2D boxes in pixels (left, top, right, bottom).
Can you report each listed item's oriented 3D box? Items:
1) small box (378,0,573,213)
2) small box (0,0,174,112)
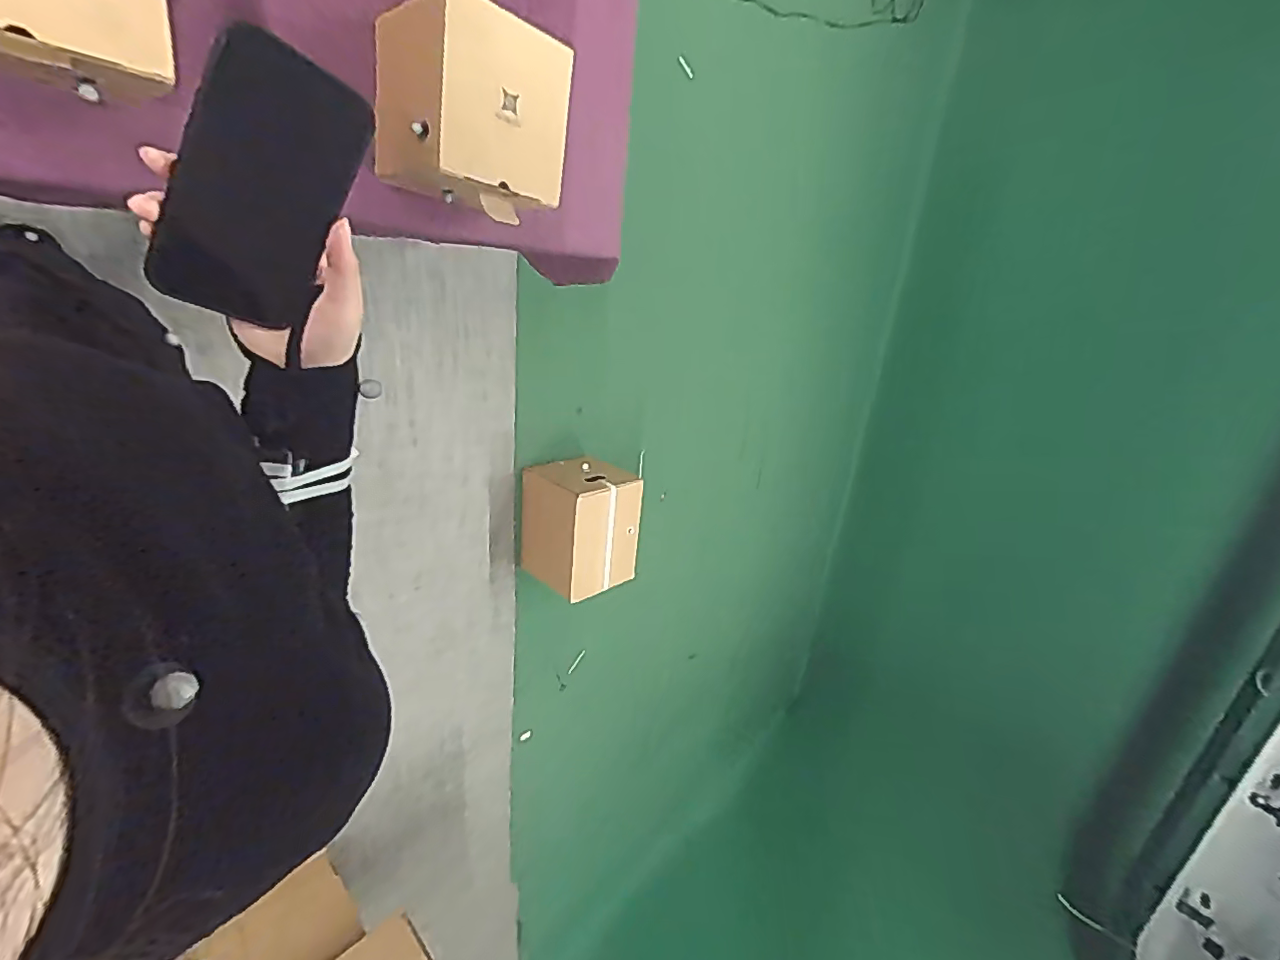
[{"bbox_3d":[-0.205,-0.441,0.663,0.168,0.176,0.179,-9,115,-46],"label":"small box"},{"bbox_3d":[-0.466,-0.396,0.392,0.168,0.176,0.179,-13,116,-46],"label":"small box"}]
